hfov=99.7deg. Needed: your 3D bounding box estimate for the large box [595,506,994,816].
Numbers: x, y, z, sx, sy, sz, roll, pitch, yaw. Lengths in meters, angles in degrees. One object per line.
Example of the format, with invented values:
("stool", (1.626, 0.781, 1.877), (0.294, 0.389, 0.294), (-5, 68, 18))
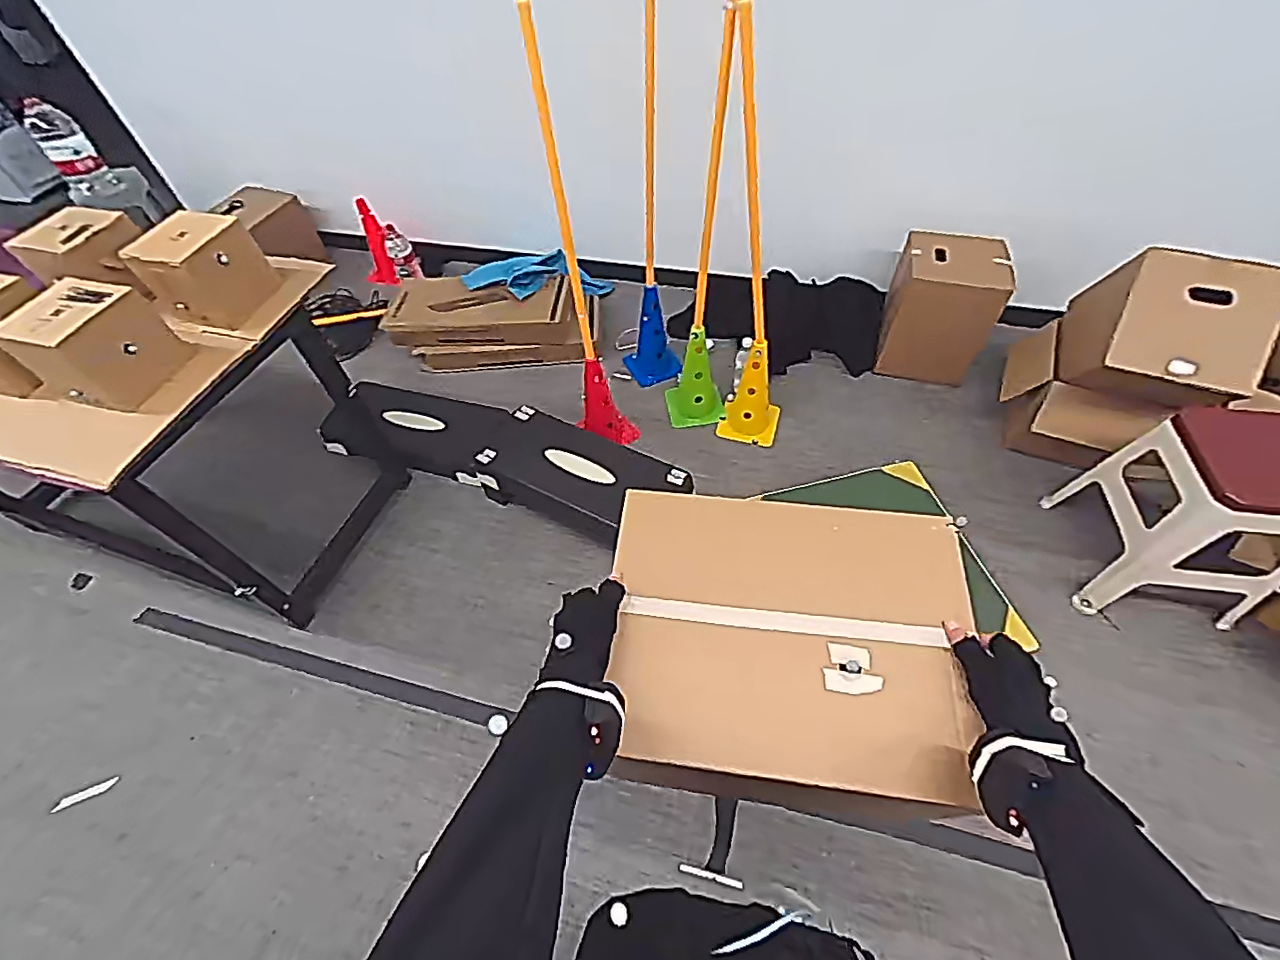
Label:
("large box", (0.169, 0.256, 0.745), (0.408, 0.320, 0.320), (5, 57, 6))
